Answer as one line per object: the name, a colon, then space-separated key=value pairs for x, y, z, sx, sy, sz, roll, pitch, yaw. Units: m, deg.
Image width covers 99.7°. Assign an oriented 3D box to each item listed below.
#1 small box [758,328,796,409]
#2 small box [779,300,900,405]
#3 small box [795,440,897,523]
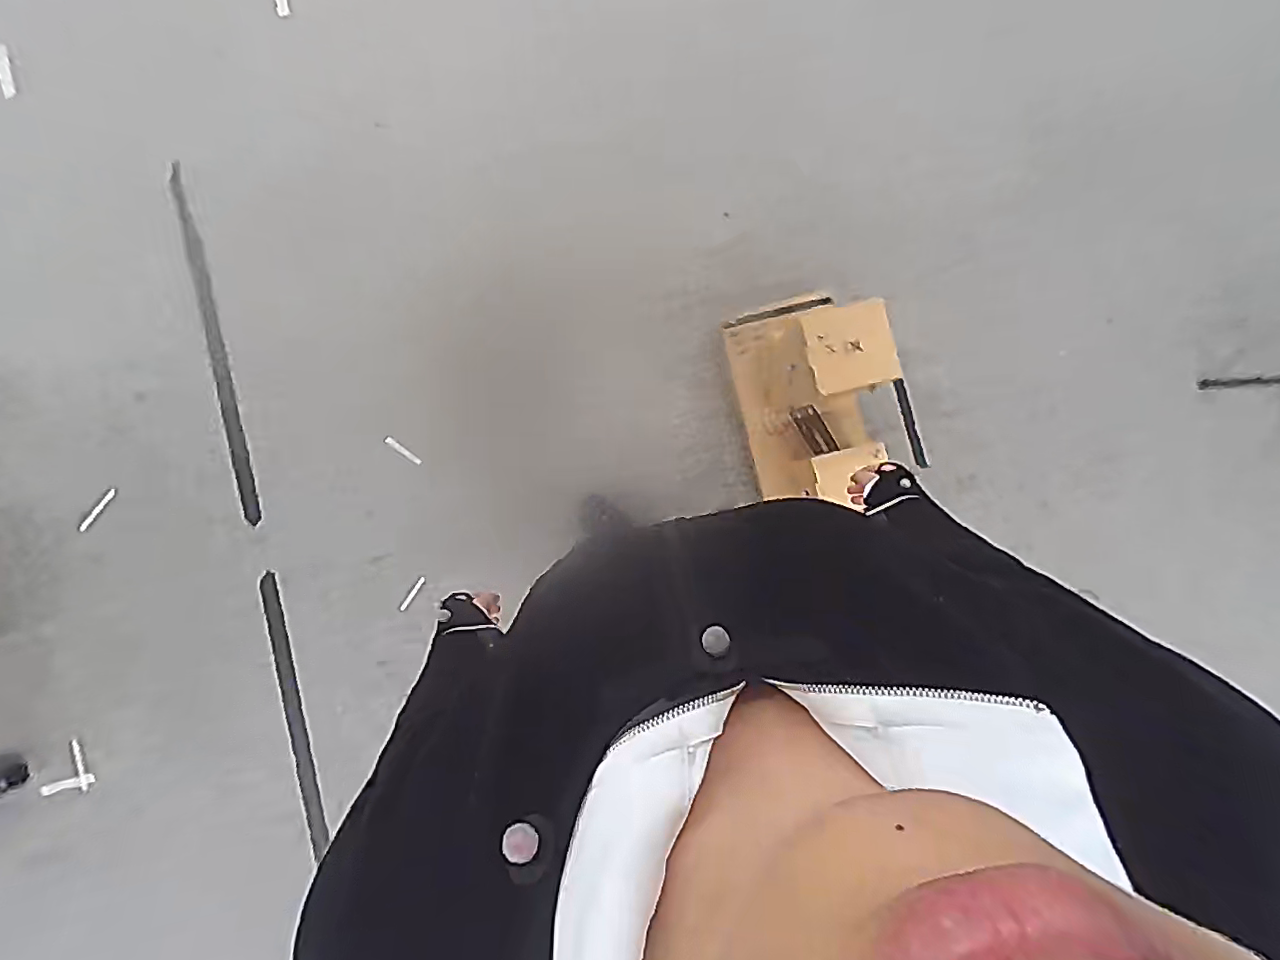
small box: x=0.407 y=-0.281 z=1.327 sx=0.179 sy=0.176 sz=0.168 roll=-15 pitch=90 yaw=0
small box: x=0.420 y=-0.266 z=1.162 sx=0.179 sy=0.176 sz=0.168 roll=-13 pitch=89 yaw=-1
small box: x=0.491 y=0.009 z=1.324 sx=0.179 sy=0.176 sz=0.168 roll=-13 pitch=87 yaw=0
